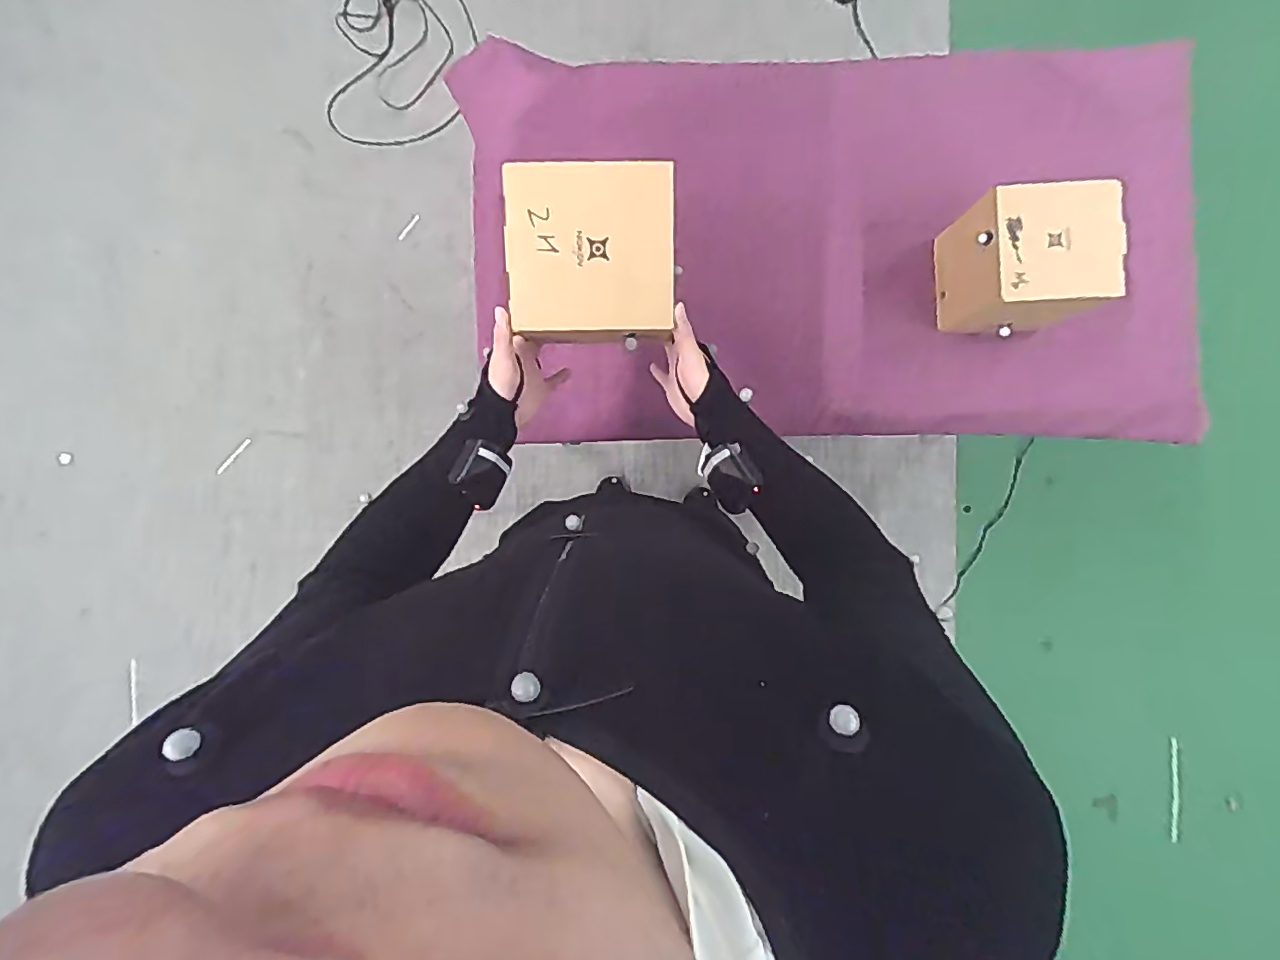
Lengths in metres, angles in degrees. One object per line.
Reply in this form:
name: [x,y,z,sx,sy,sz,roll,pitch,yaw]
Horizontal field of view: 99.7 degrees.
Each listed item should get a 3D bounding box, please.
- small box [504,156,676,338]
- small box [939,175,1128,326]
small box: [-0.051,-0.259,0.637,0.179,0.176,0.168,0,100,0]
small box: [0.591,-0.341,0.831,0.179,0.176,0.168,-2,90,1]
